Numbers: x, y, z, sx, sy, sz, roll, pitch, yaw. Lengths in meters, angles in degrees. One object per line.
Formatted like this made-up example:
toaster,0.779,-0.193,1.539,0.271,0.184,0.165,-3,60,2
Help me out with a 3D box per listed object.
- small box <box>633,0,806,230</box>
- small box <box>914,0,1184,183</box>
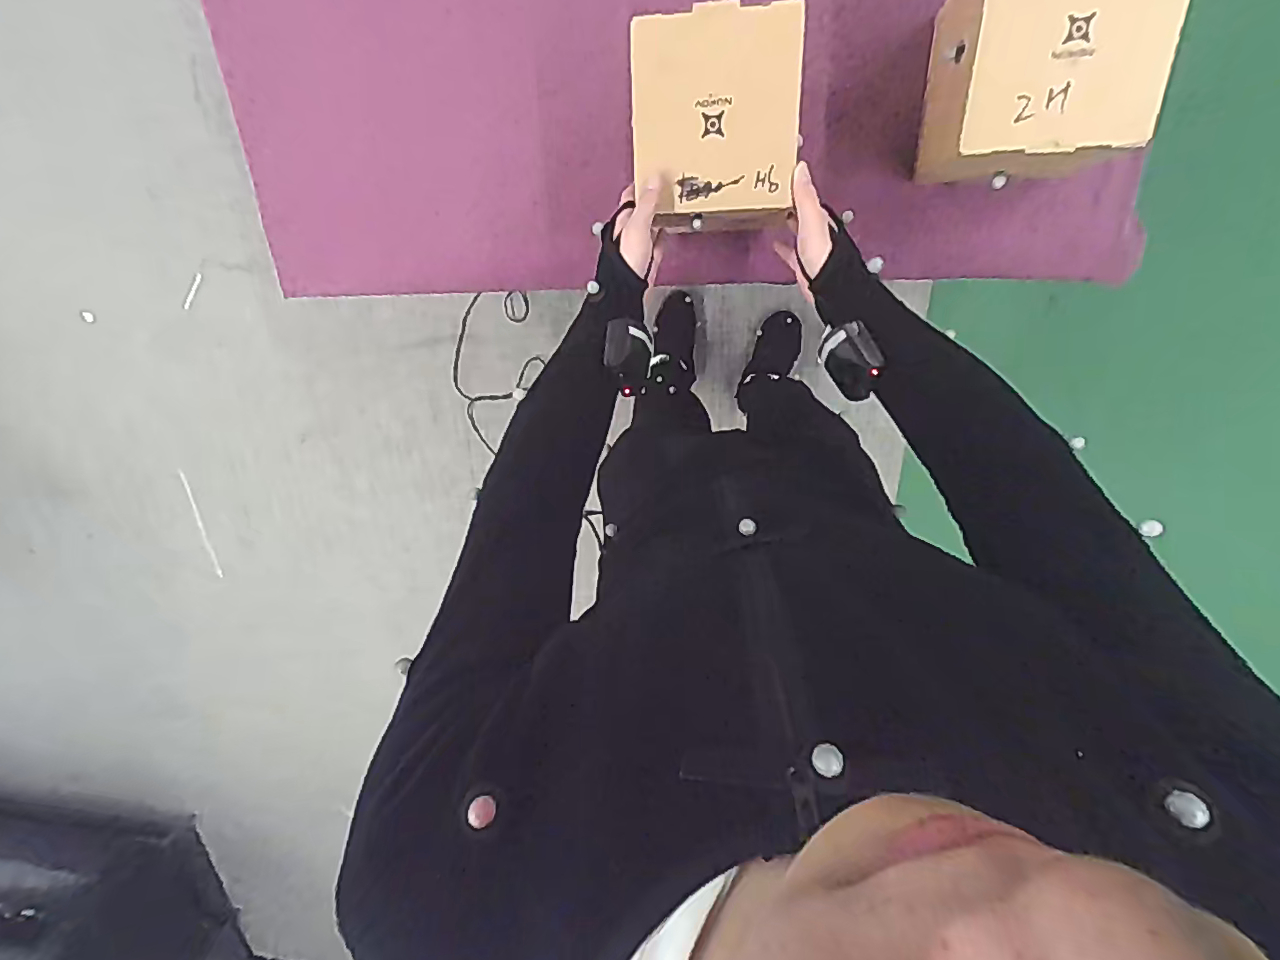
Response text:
small box,0.086,-0.390,0.611,0.168,0.176,0.179,2,109,9
small box,0.405,-0.424,0.564,0.168,0.176,0.179,4,111,11
